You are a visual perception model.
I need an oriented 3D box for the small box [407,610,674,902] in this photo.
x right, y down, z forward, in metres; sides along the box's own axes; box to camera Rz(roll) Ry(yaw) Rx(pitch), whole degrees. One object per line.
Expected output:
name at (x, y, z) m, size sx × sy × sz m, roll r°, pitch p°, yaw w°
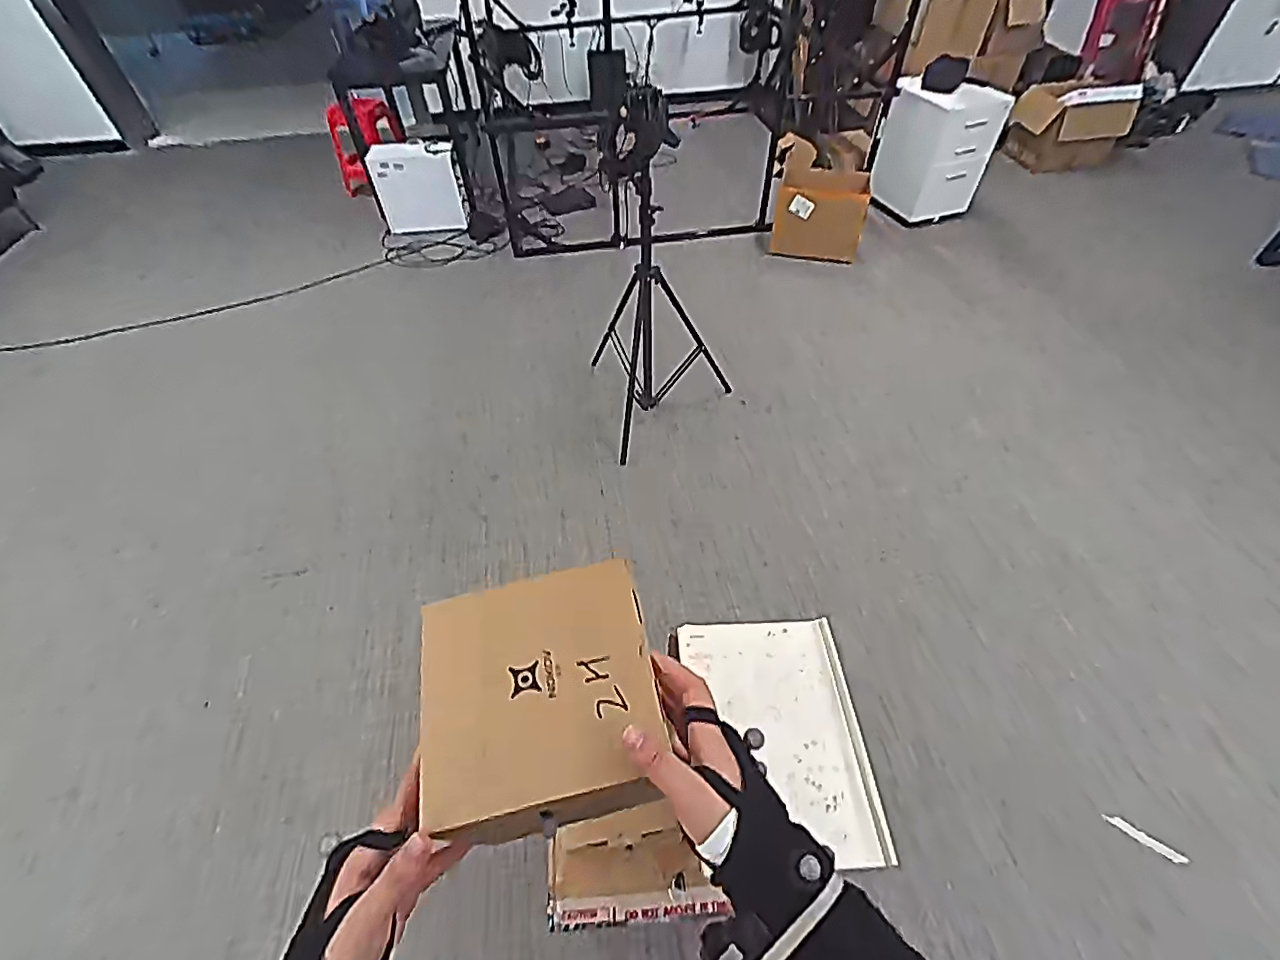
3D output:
small box at (-0.073, 0.235, 0.457) m, size 0.179 × 0.176 × 0.168 m, roll -12°, pitch 55°, yaw -5°

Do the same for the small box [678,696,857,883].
small box at (0.142, 0.388, 0.677) m, size 0.168 × 0.176 × 0.179 m, roll -1°, pitch 51°, yaw -3°
